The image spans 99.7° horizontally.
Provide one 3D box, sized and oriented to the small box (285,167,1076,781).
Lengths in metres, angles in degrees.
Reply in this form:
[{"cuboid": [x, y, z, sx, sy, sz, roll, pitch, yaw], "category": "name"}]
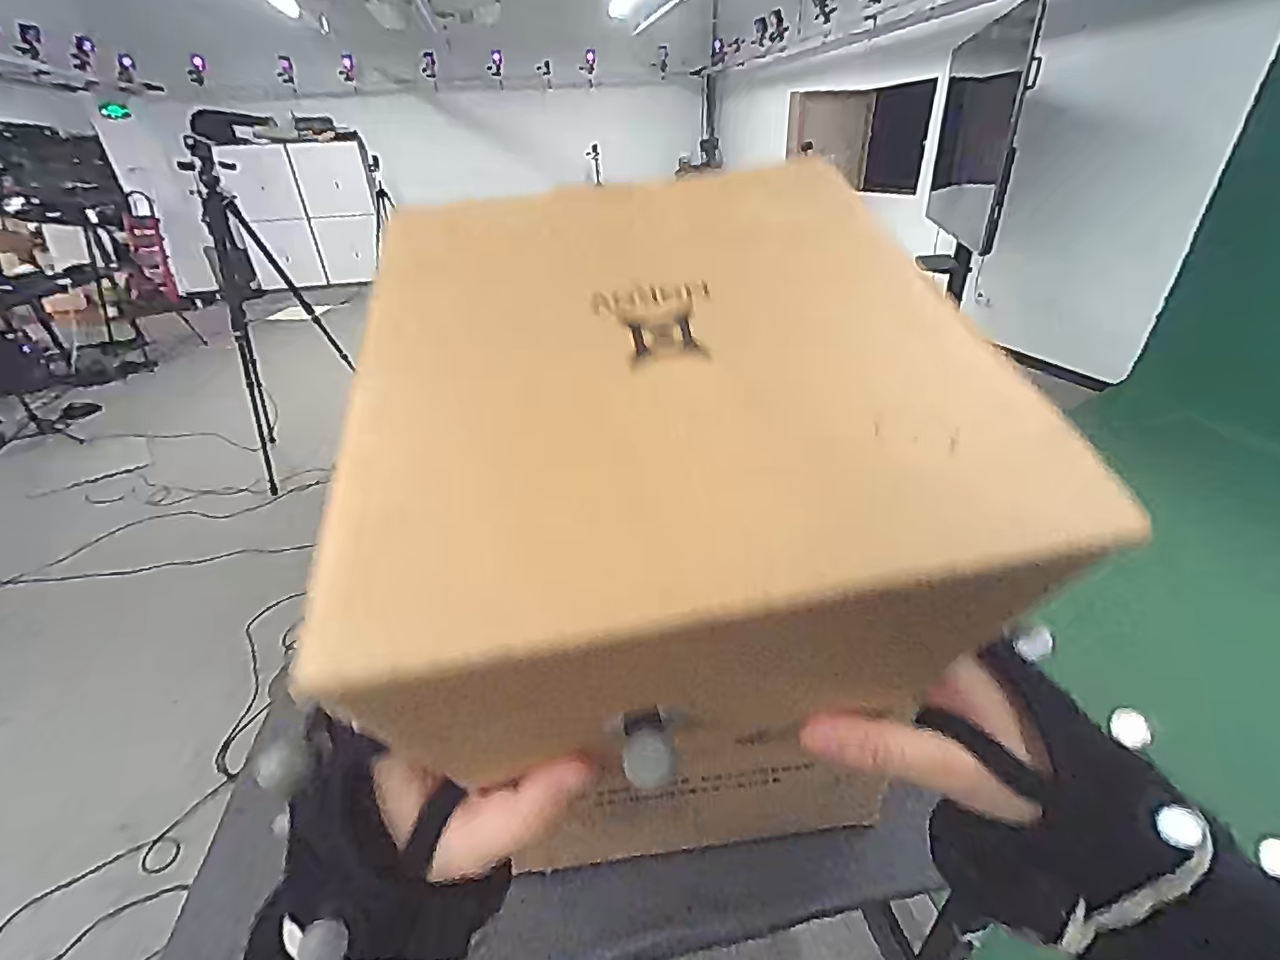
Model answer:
[{"cuboid": [0.001, 0.006, 0.219, 0.168, 0.176, 0.179, -9, 52, -5], "category": "small box"}]
